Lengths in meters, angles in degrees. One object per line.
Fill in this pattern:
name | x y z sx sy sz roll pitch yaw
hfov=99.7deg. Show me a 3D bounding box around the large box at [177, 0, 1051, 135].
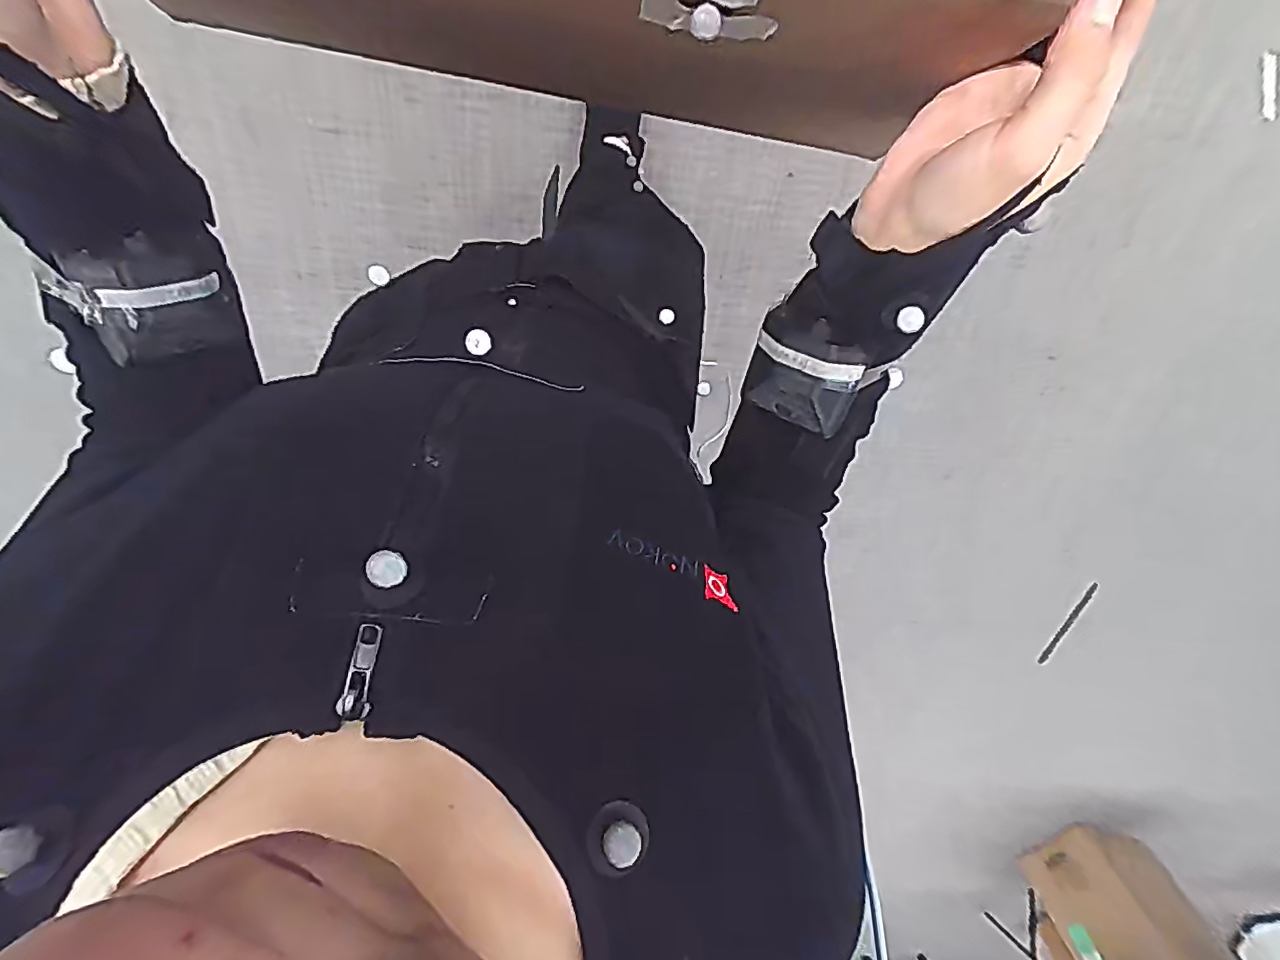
large box | -0.014 -0.355 0.143 0.408 0.320 0.320 5 100 -8
